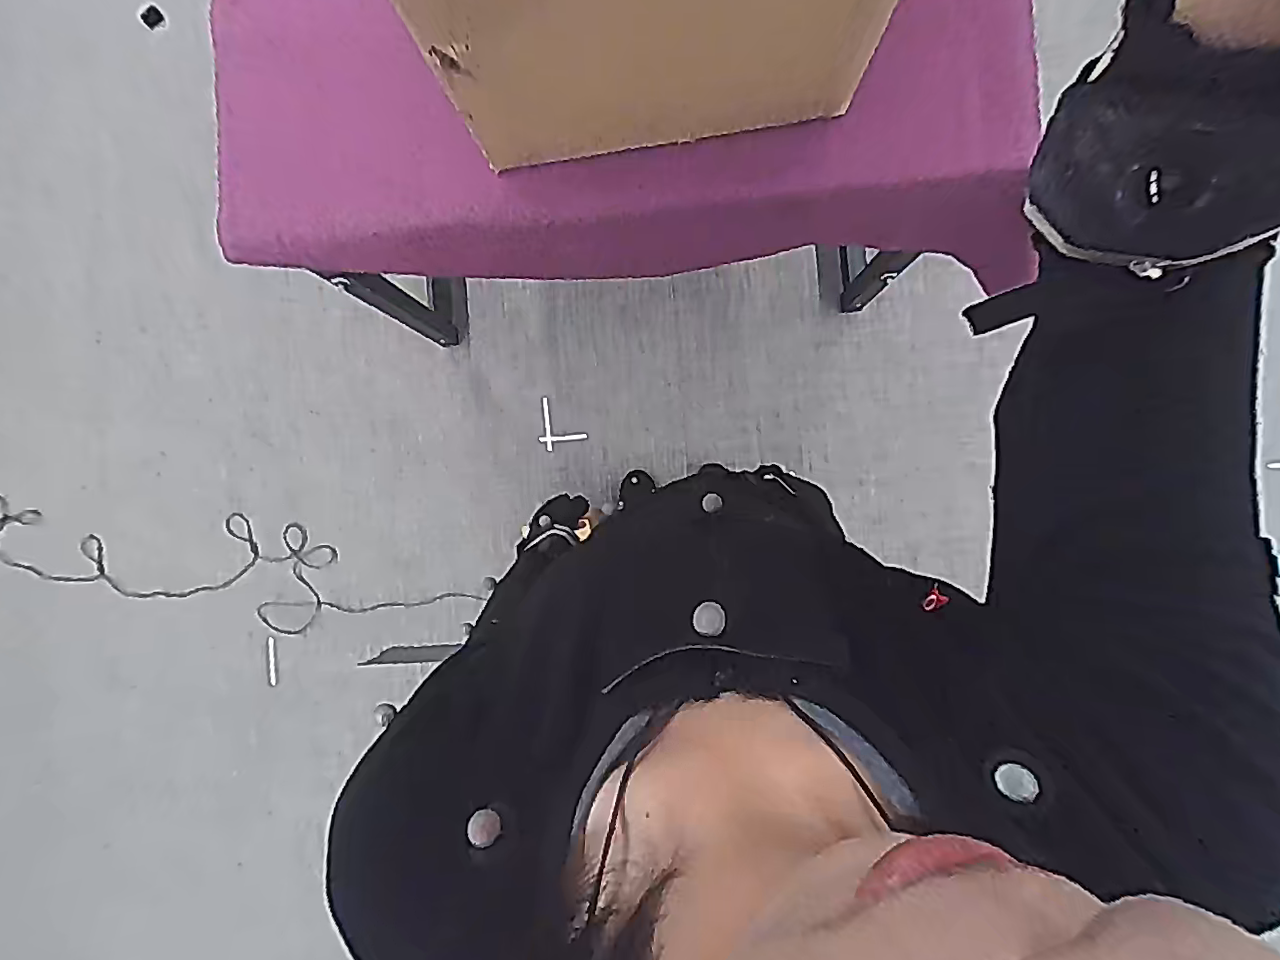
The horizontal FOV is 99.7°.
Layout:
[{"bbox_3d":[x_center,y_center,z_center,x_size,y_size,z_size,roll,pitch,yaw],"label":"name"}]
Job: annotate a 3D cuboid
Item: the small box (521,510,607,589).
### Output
[{"bbox_3d":[-0.197,0.181,1.450,0.179,0.176,0.168,-14,89,2],"label":"small box"}]
